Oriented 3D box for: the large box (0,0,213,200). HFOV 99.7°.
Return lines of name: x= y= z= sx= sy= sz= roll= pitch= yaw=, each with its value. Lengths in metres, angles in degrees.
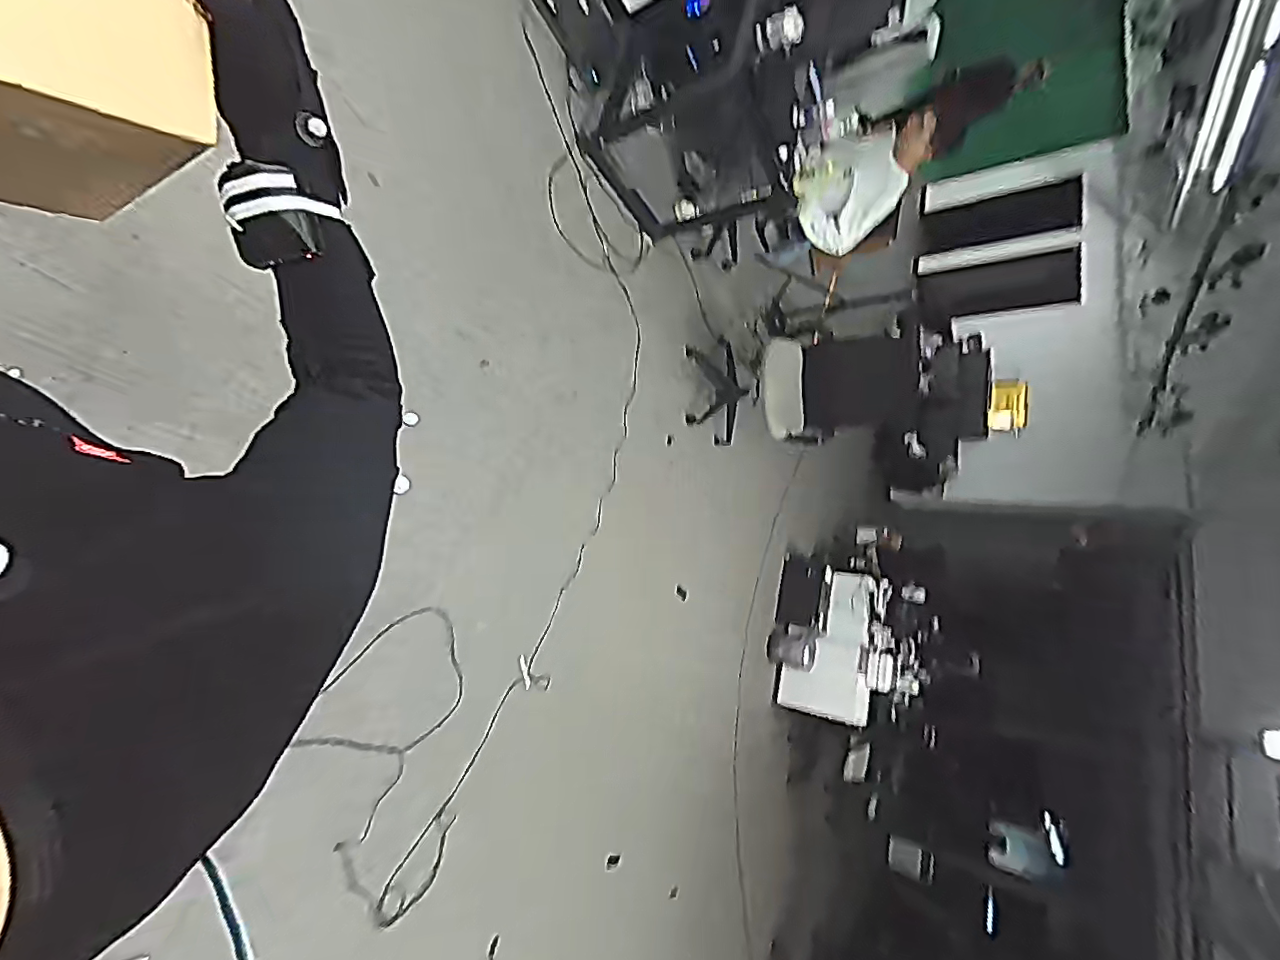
large box: x=-0.546 y=-0.390 z=0.288 sx=0.408 sy=0.320 sz=0.320 roll=-14 pitch=108 yaw=-55
